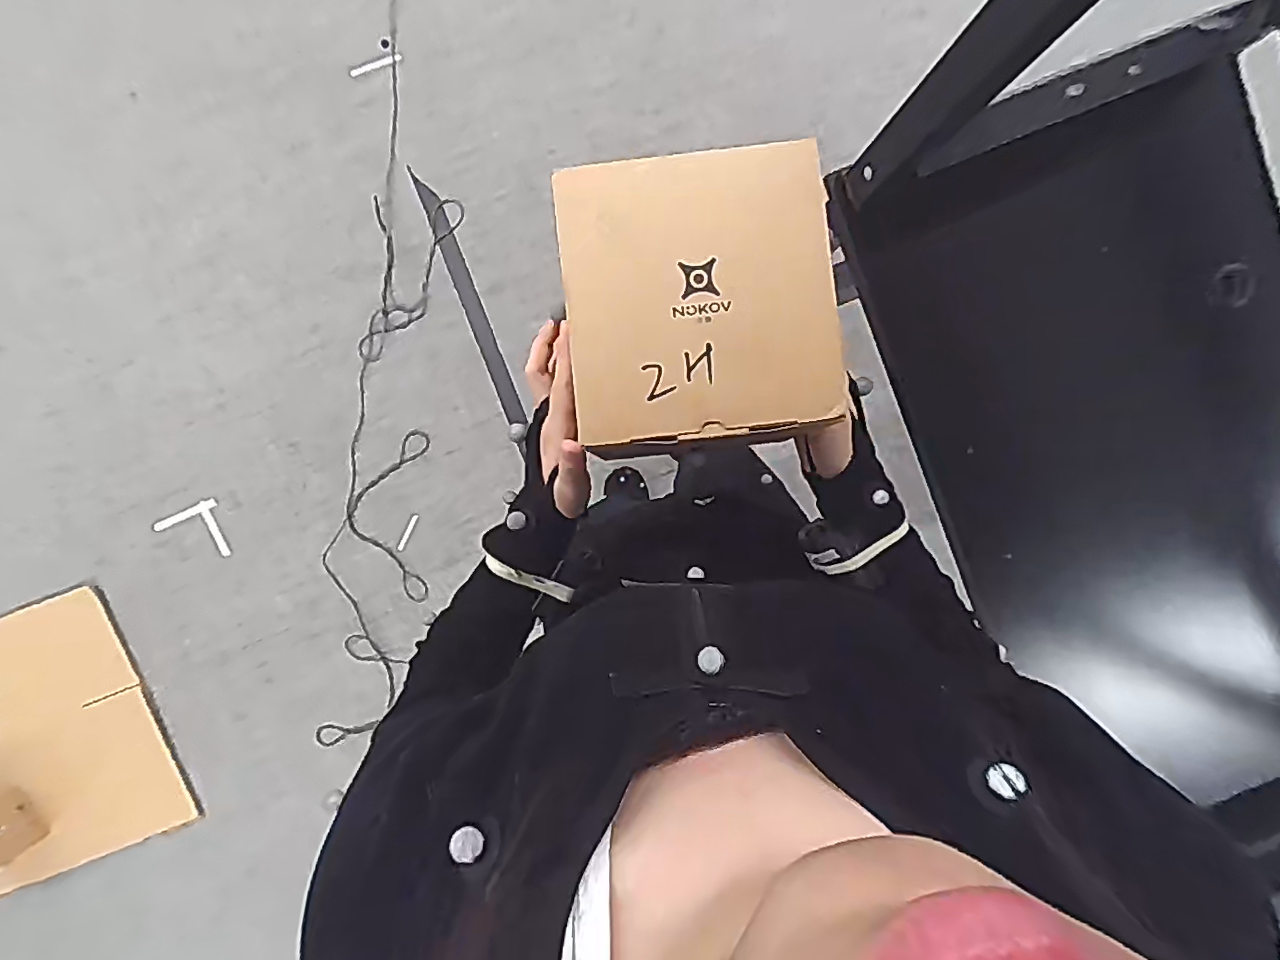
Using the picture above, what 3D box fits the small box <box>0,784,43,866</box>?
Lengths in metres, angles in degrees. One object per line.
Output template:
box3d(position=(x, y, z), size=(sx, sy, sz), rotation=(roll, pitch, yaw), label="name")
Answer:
box3d(position=(-1.693, 0.918, 1.367), size=(0.179, 0.176, 0.168), rotation=(-29, 95, -1), label="small box")

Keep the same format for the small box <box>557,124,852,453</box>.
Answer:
box3d(position=(0.038, -0.119, 0.402), size=(0.168, 0.176, 0.179), rotation=(-6, 89, 2), label="small box")
